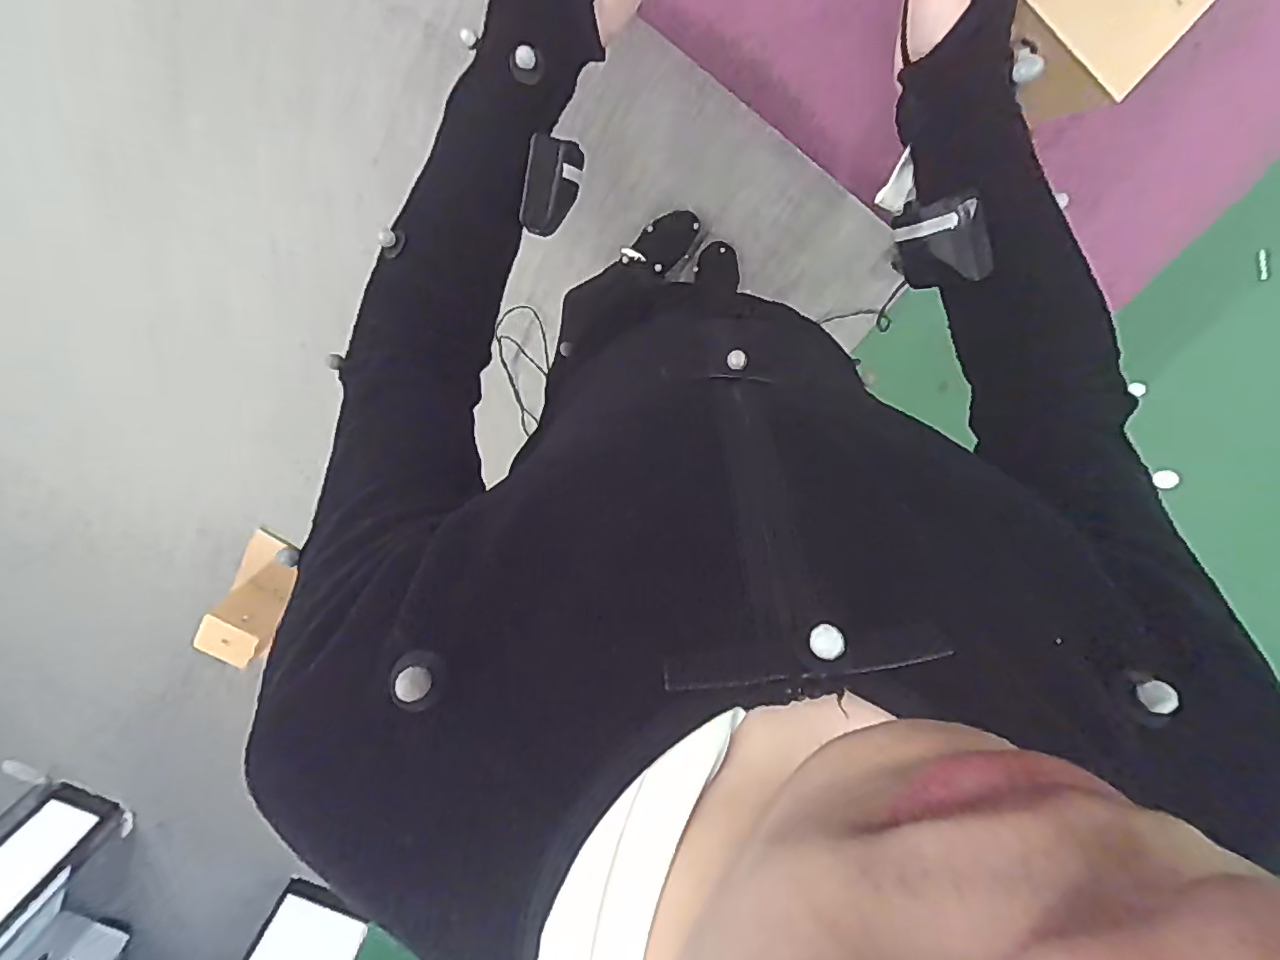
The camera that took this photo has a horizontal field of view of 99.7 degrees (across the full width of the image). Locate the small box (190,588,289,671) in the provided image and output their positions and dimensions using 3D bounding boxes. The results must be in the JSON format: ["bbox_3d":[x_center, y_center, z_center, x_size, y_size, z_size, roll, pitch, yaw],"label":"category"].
[{"bbox_3d":[-1.309,0.482,1.776,0.179,0.176,0.168,33,112,-13],"label":"small box"}]

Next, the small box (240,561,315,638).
[{"bbox_3d":[-1.304,0.418,1.925,0.179,0.176,0.168,34,112,-12],"label":"small box"}]

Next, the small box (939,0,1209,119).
[{"bbox_3d":[0.464,-0.522,0.572,0.179,0.176,0.168,34,113,-12],"label":"small box"}]
